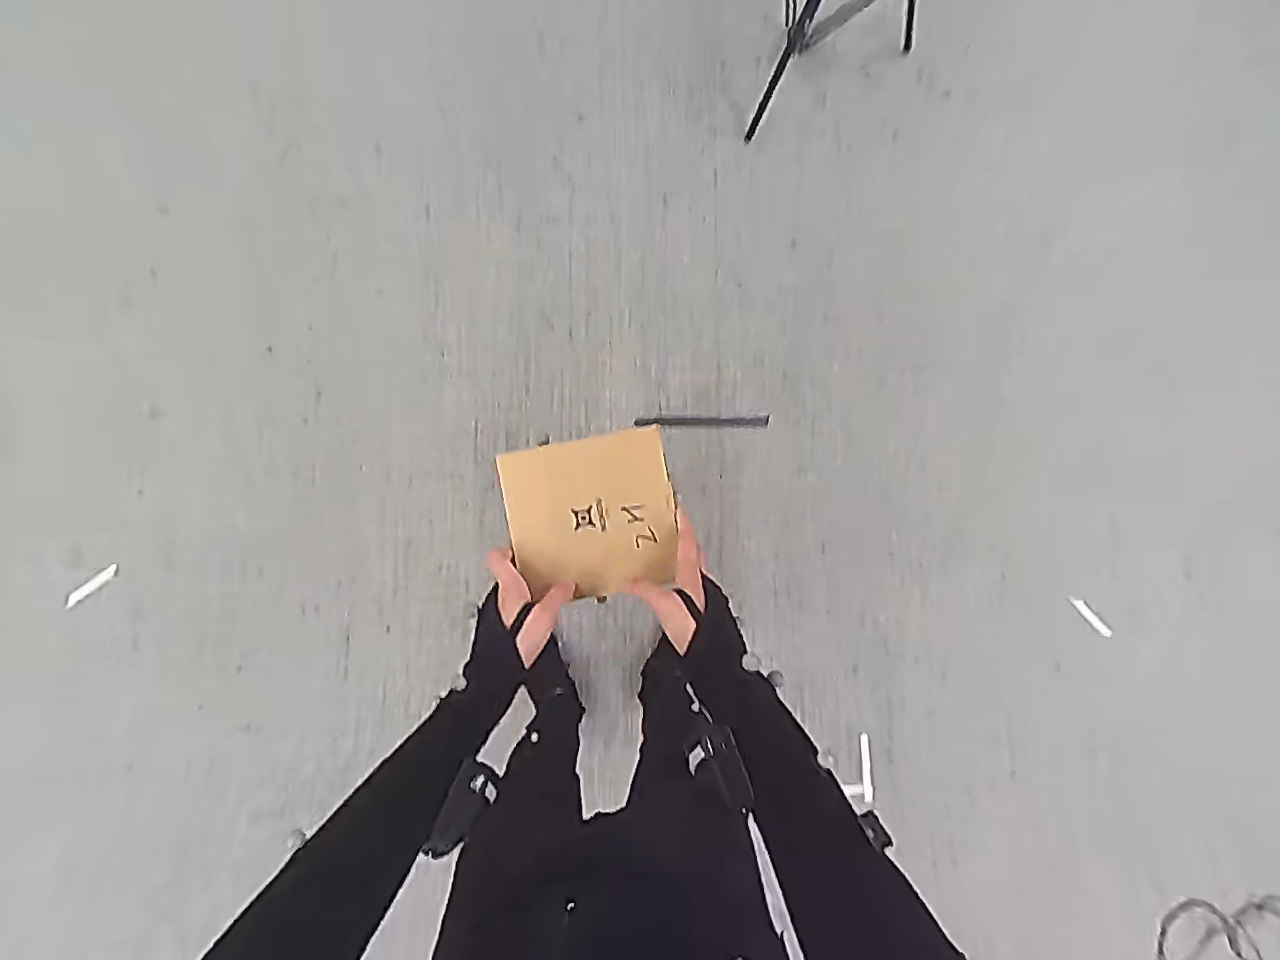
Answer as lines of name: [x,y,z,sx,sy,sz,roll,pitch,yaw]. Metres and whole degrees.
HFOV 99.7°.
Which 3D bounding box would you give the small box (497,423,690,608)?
small box: [-0.045,0.037,0.626,0.179,0.176,0.168,-11,91,1]
